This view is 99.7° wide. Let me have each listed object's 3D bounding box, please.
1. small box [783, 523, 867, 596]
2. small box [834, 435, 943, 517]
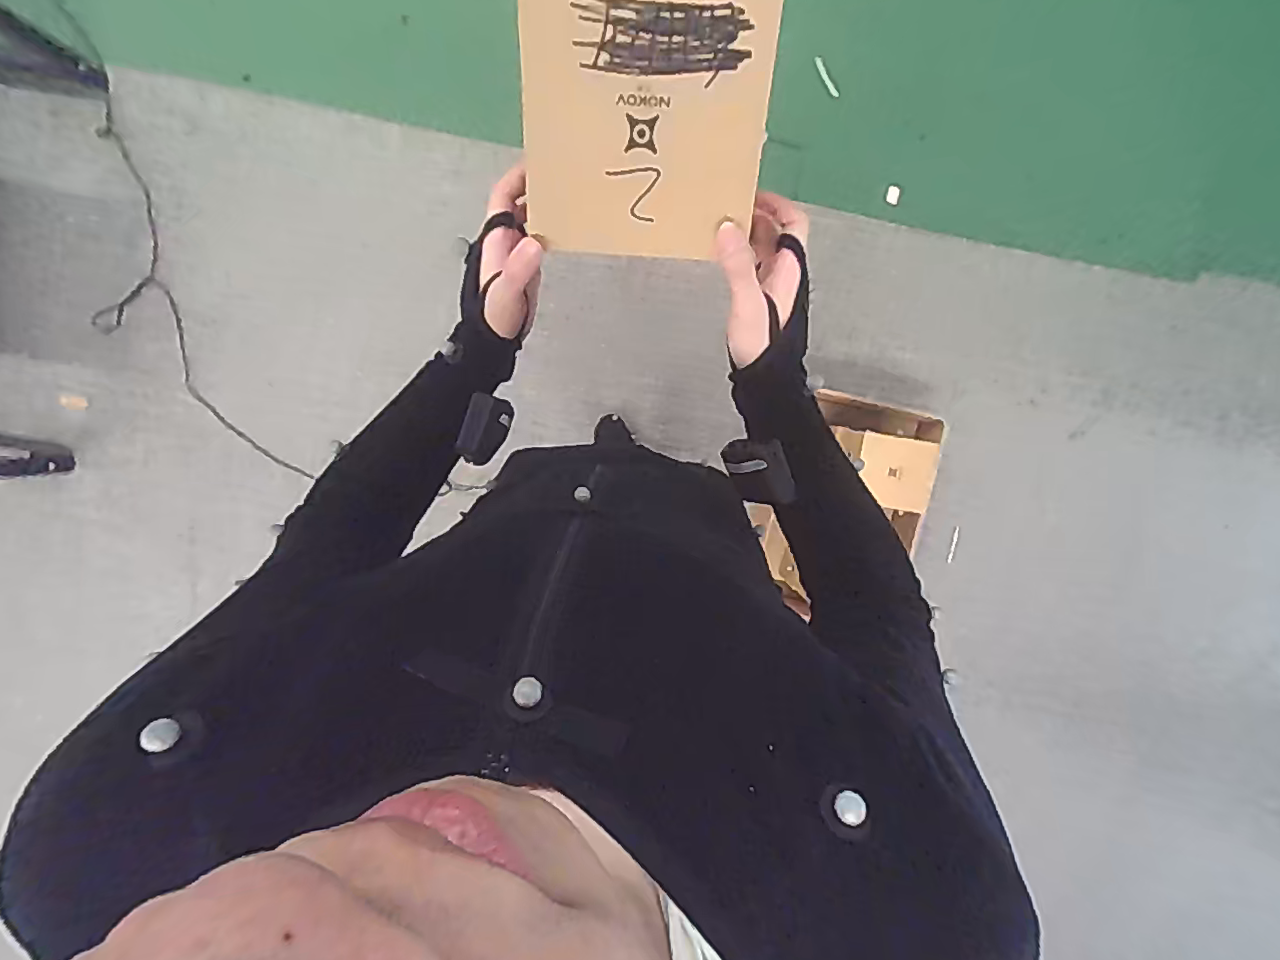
[{"bbox_3d":[0.512,0.233,1.502,0.168,0.176,0.179,17,95,0],"label":"small box"},{"bbox_3d":[0.592,-0.015,1.315,0.179,0.176,0.168,10,96,0],"label":"small box"}]
